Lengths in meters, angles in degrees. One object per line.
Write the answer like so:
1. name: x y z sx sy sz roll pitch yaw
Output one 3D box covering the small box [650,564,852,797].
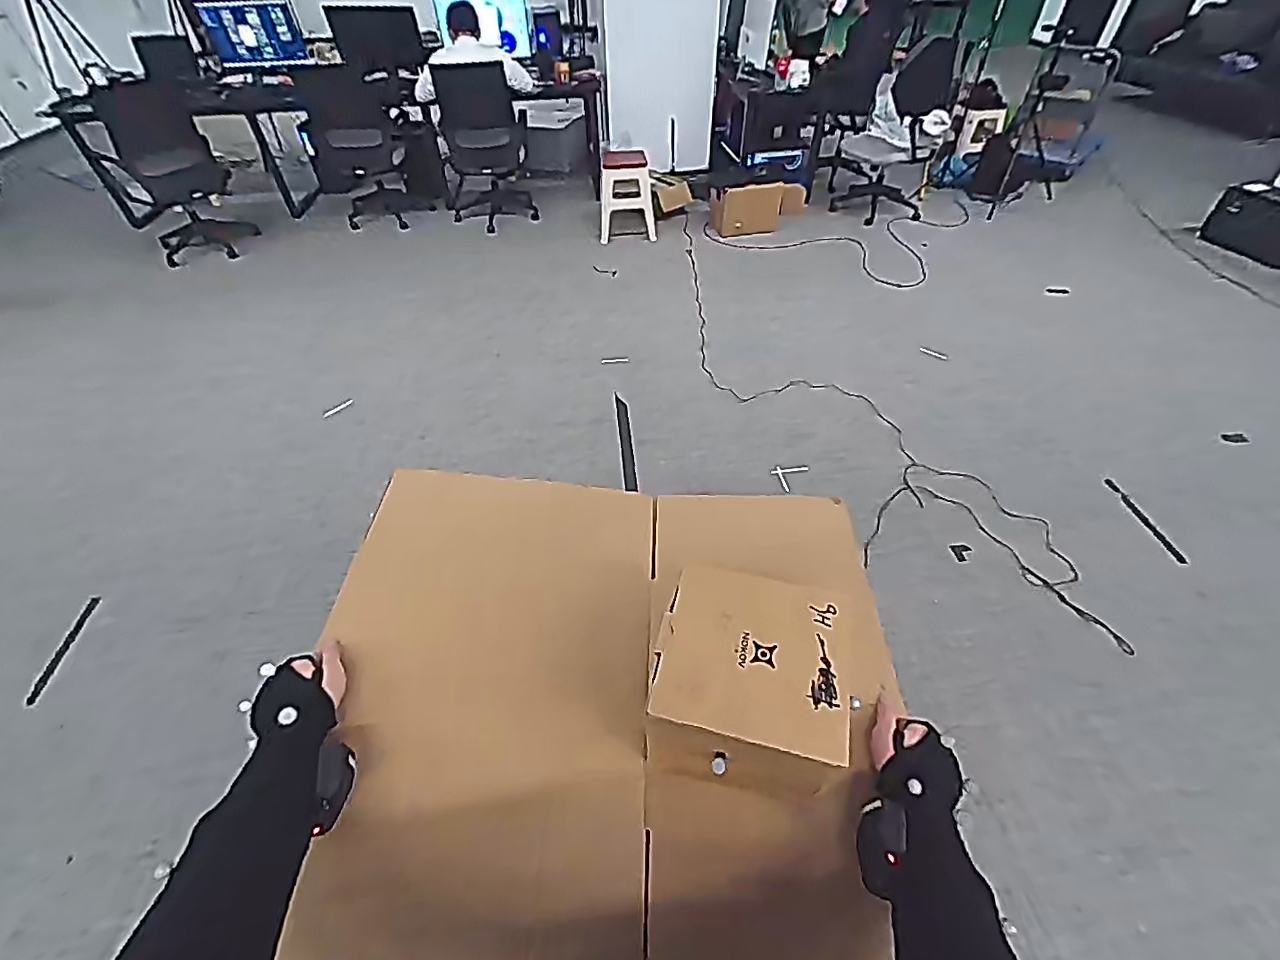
1. small box: 0.119 0.216 0.581 0.179 0.176 0.168 9 50 13
